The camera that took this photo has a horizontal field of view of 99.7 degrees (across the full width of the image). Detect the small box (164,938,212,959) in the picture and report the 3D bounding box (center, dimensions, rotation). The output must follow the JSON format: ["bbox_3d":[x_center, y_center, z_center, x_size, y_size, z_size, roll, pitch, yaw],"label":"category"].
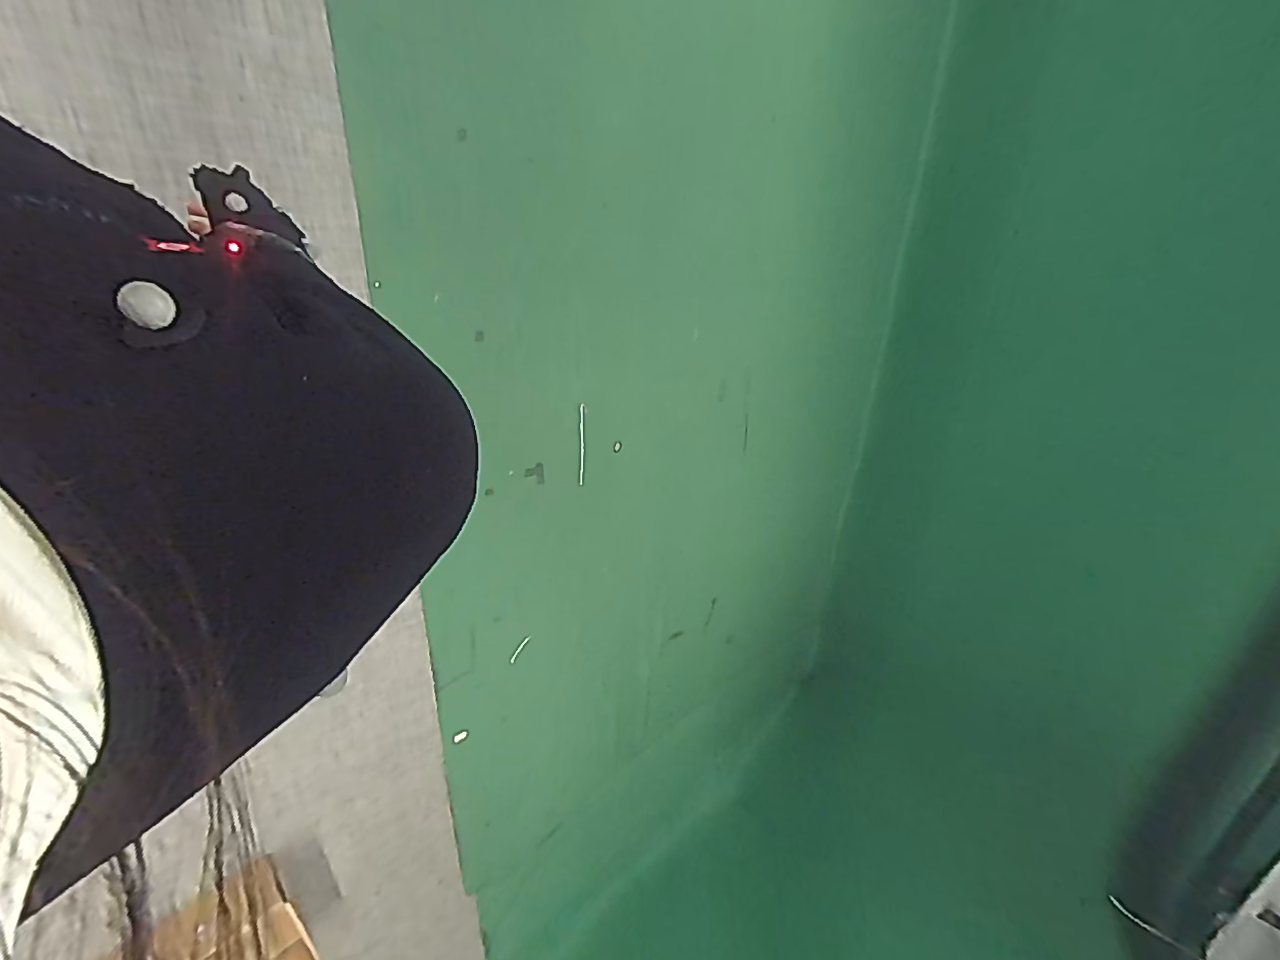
[{"bbox_3d":[-1.237,1.390,1.431,0.179,0.176,0.168,-25,127,-41],"label":"small box"}]
